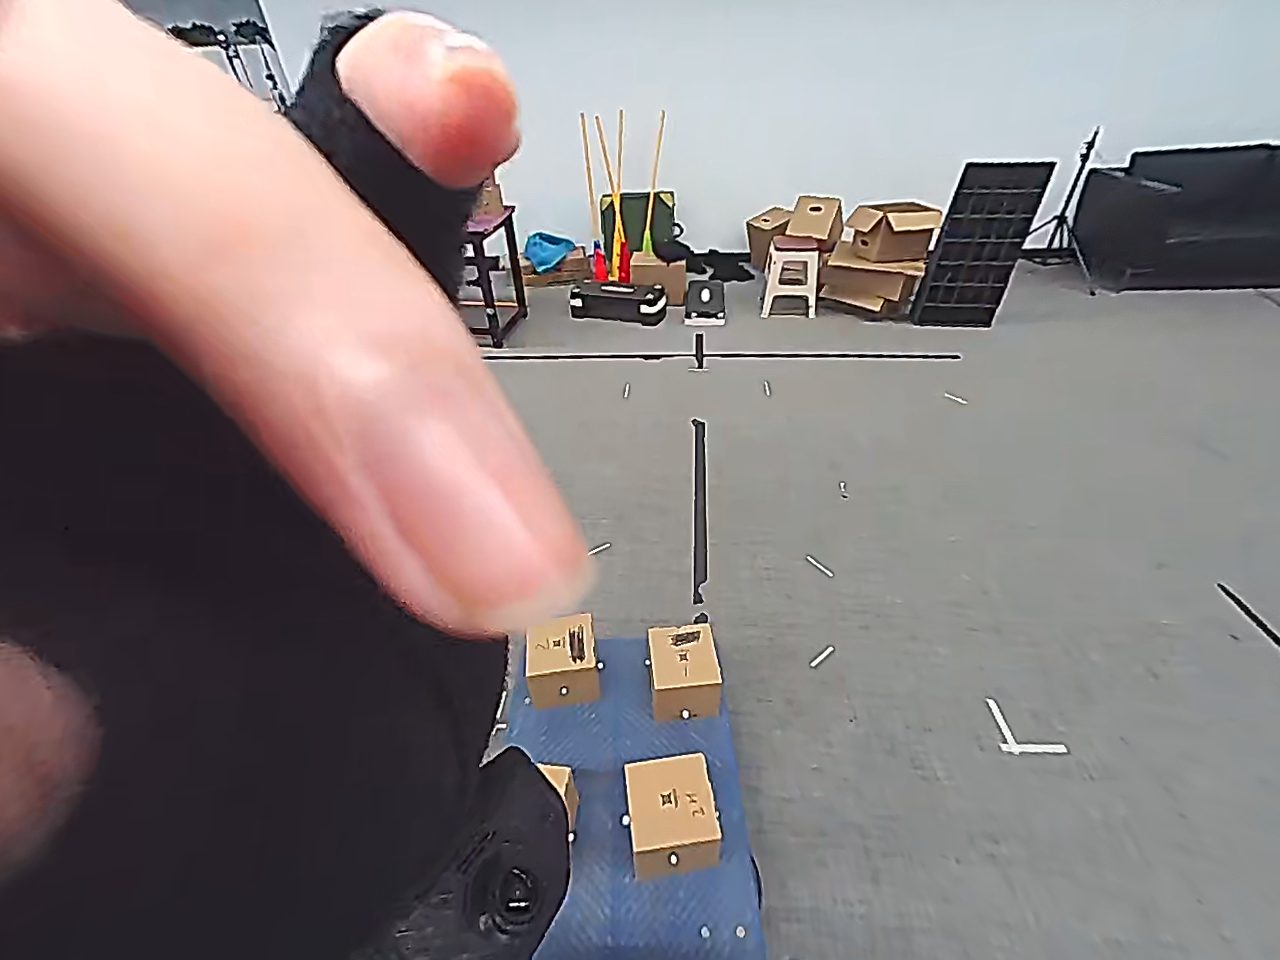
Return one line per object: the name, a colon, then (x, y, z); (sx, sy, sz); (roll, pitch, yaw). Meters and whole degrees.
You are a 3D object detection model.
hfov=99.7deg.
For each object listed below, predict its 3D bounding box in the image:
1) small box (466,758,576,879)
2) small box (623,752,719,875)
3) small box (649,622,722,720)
small box: (-0.241, 0.717, 1.145); (0.179, 0.176, 0.168); (3, 39, 5)
small box: (0.063, 0.706, 1.142); (0.179, 0.176, 0.168); (-6, 39, -4)
small box: (0.111, 0.495, 1.401); (0.168, 0.176, 0.179); (-4, 40, -2)
